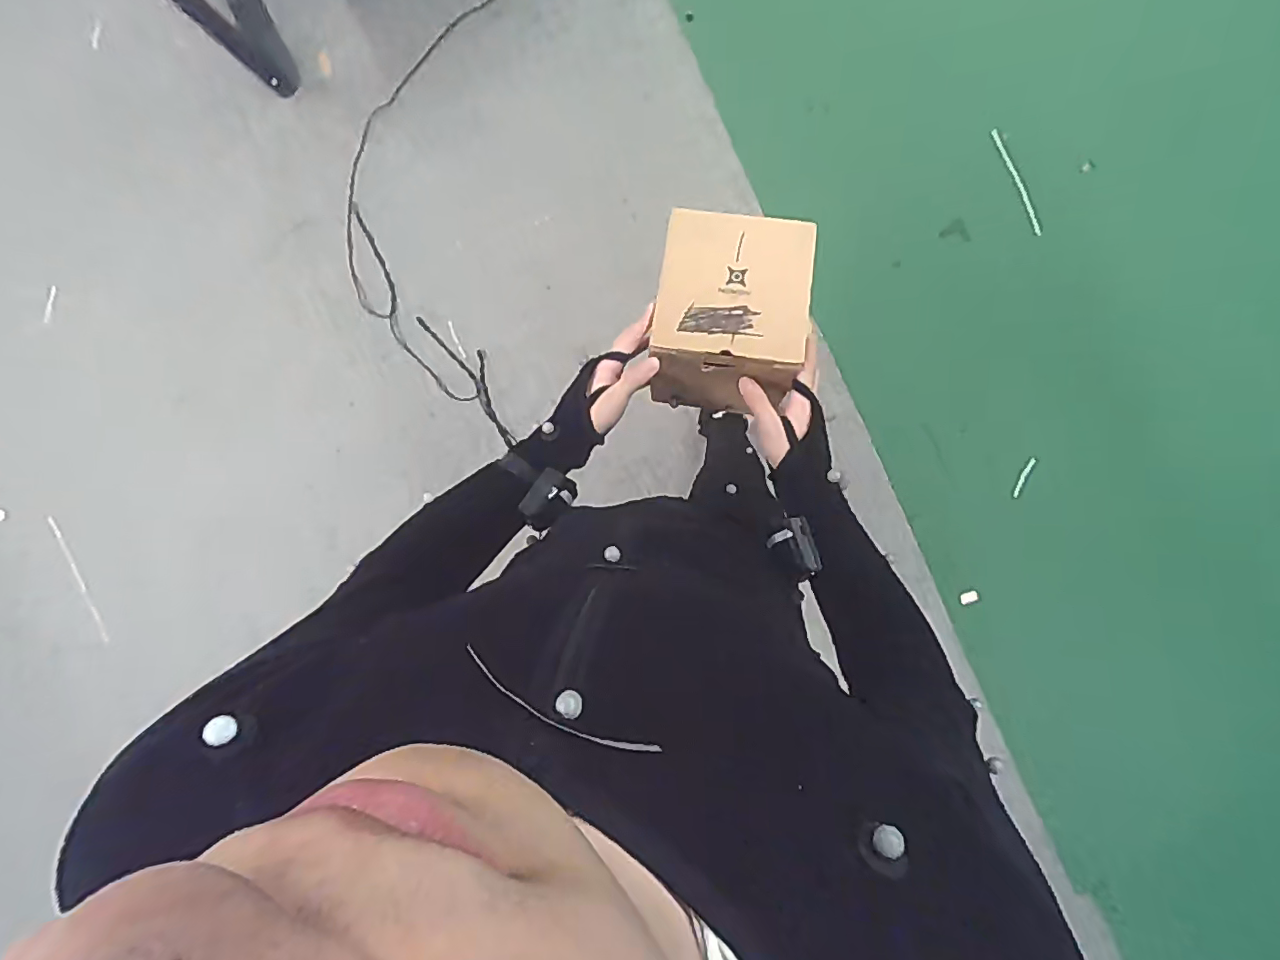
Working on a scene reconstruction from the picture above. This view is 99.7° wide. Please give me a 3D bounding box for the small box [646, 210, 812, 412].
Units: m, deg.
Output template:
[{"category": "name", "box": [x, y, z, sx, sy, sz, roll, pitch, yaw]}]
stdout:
[{"category": "small box", "box": [0.104, -0.197, 0.670, 0.168, 0.176, 0.179, 8, 78, 5]}]
